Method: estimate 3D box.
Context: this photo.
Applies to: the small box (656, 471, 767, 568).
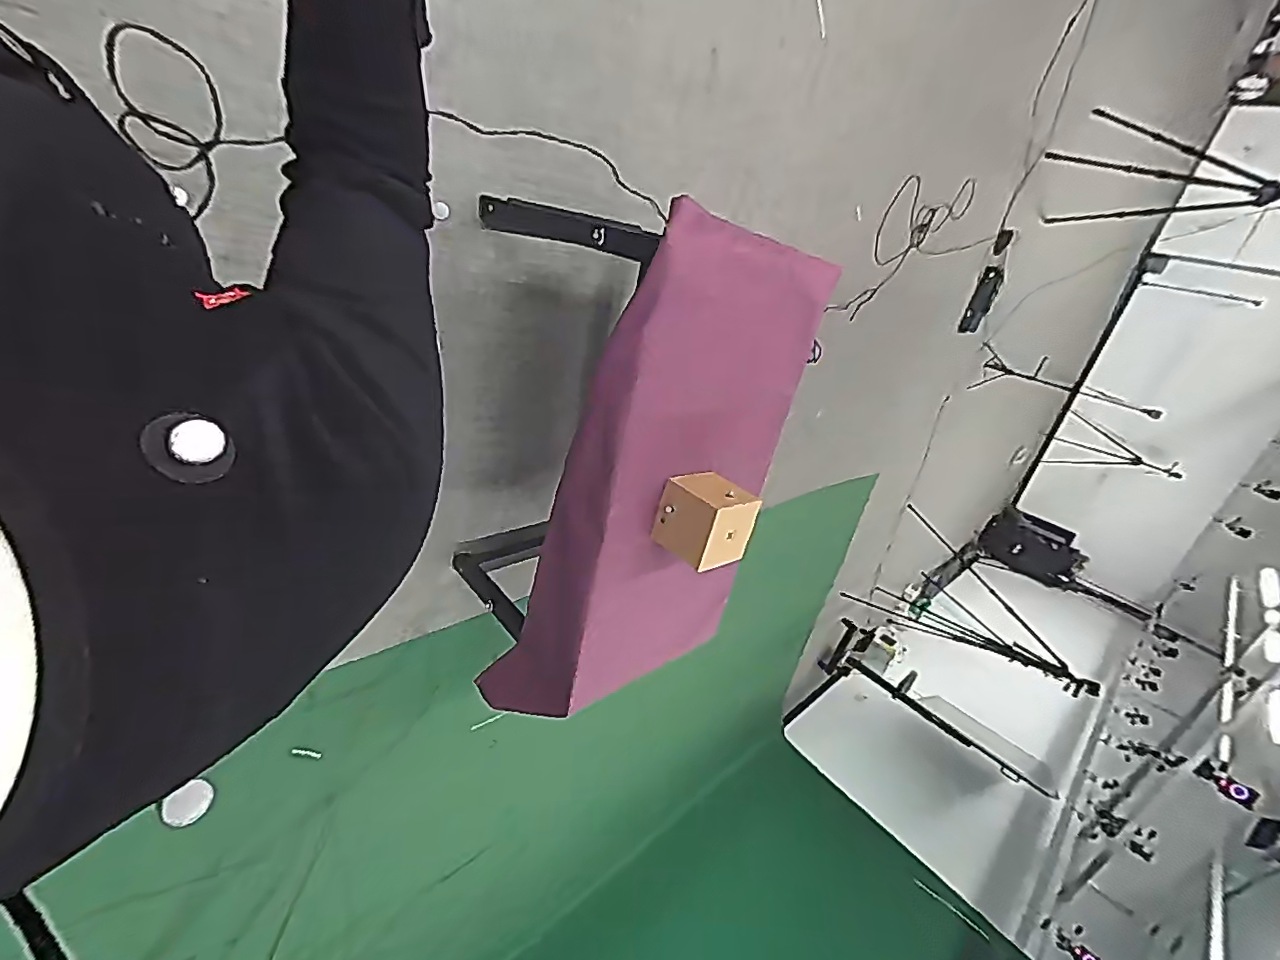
[{"bbox_3d":[0.169,0.086,1.307,0.179,0.176,0.168,-7,120,-44],"label":"small box"}]
